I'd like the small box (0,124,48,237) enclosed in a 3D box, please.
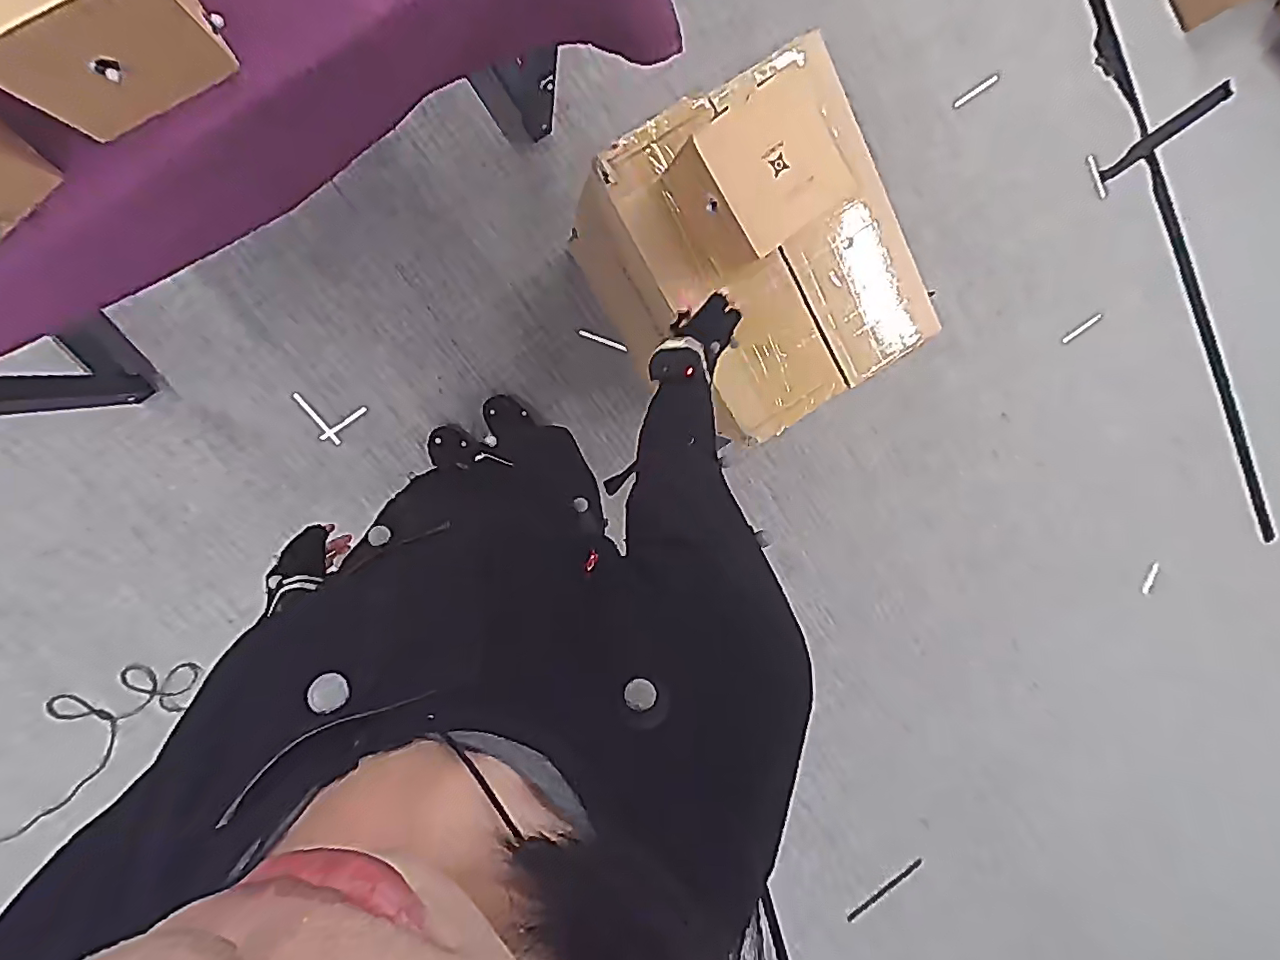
[{"bbox_3d":[-0.732,-0.319,0.499,0.179,0.176,0.168,-46,105,-2],"label":"small box"}]

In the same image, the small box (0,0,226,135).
[{"bbox_3d":[-0.543,-0.473,0.508,0.179,0.176,0.168,-31,104,-3],"label":"small box"}]

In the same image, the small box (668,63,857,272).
[{"bbox_3d":[0.161,-0.423,0.768,0.168,0.176,0.179,-36,107,0],"label":"small box"}]
